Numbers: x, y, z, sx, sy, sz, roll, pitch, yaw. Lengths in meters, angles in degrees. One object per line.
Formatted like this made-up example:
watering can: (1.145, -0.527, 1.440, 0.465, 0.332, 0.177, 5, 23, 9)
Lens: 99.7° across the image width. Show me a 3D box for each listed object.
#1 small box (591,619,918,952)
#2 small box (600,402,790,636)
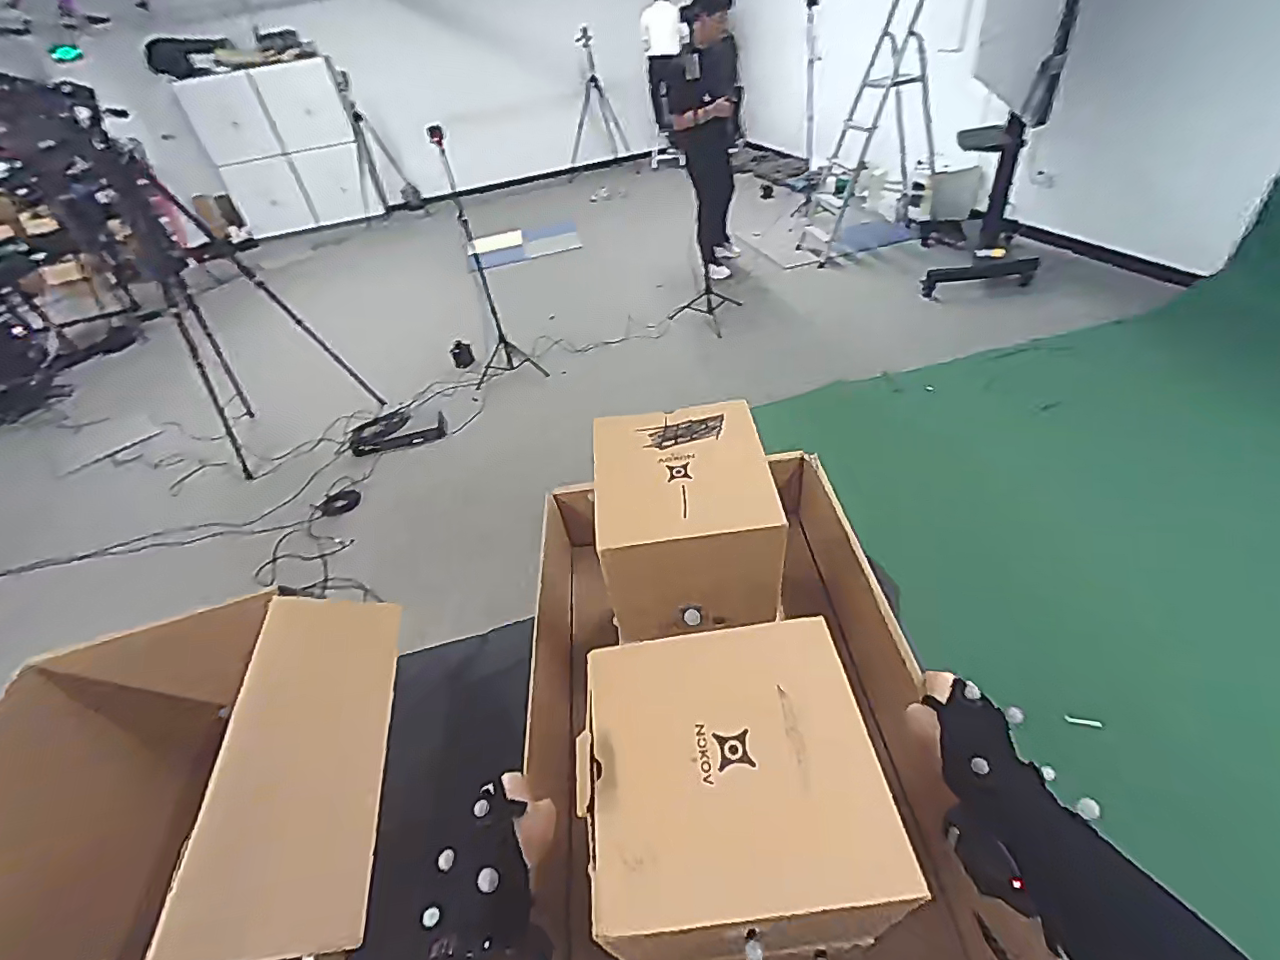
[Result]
small box: (0.066, 0.227, 0.397, 0.179, 0.176, 0.168, -8, 46, 1)
small box: (0.051, 0.043, 0.574, 0.168, 0.176, 0.179, -7, 47, 3)
